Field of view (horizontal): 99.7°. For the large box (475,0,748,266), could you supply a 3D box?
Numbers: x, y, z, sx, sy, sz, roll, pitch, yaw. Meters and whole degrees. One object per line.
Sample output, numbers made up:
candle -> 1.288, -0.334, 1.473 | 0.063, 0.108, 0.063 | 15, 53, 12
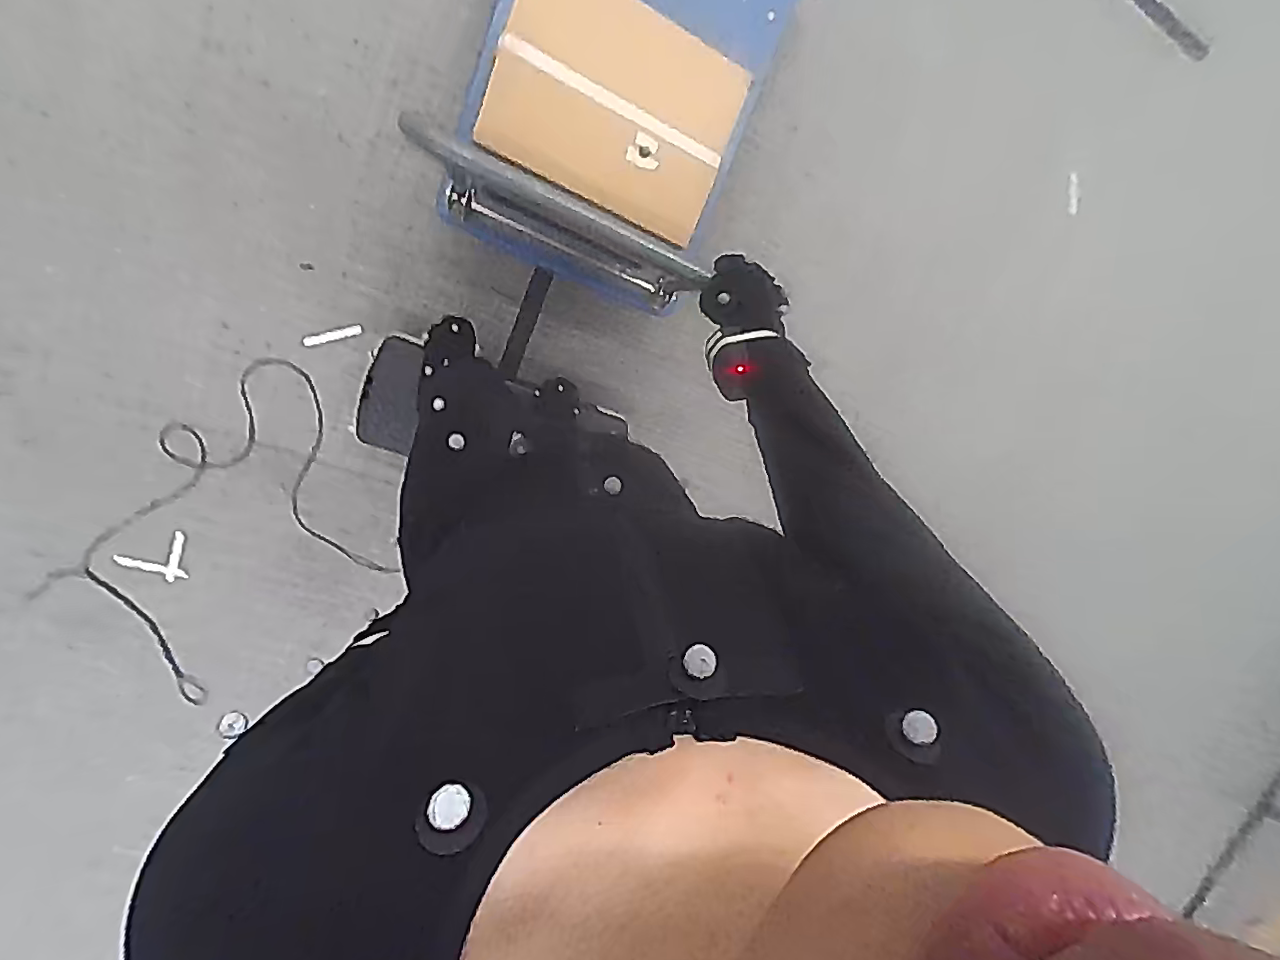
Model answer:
large box -> -0.077, -0.660, 1.054 | 0.408, 0.320, 0.320 | 19, 101, -19
